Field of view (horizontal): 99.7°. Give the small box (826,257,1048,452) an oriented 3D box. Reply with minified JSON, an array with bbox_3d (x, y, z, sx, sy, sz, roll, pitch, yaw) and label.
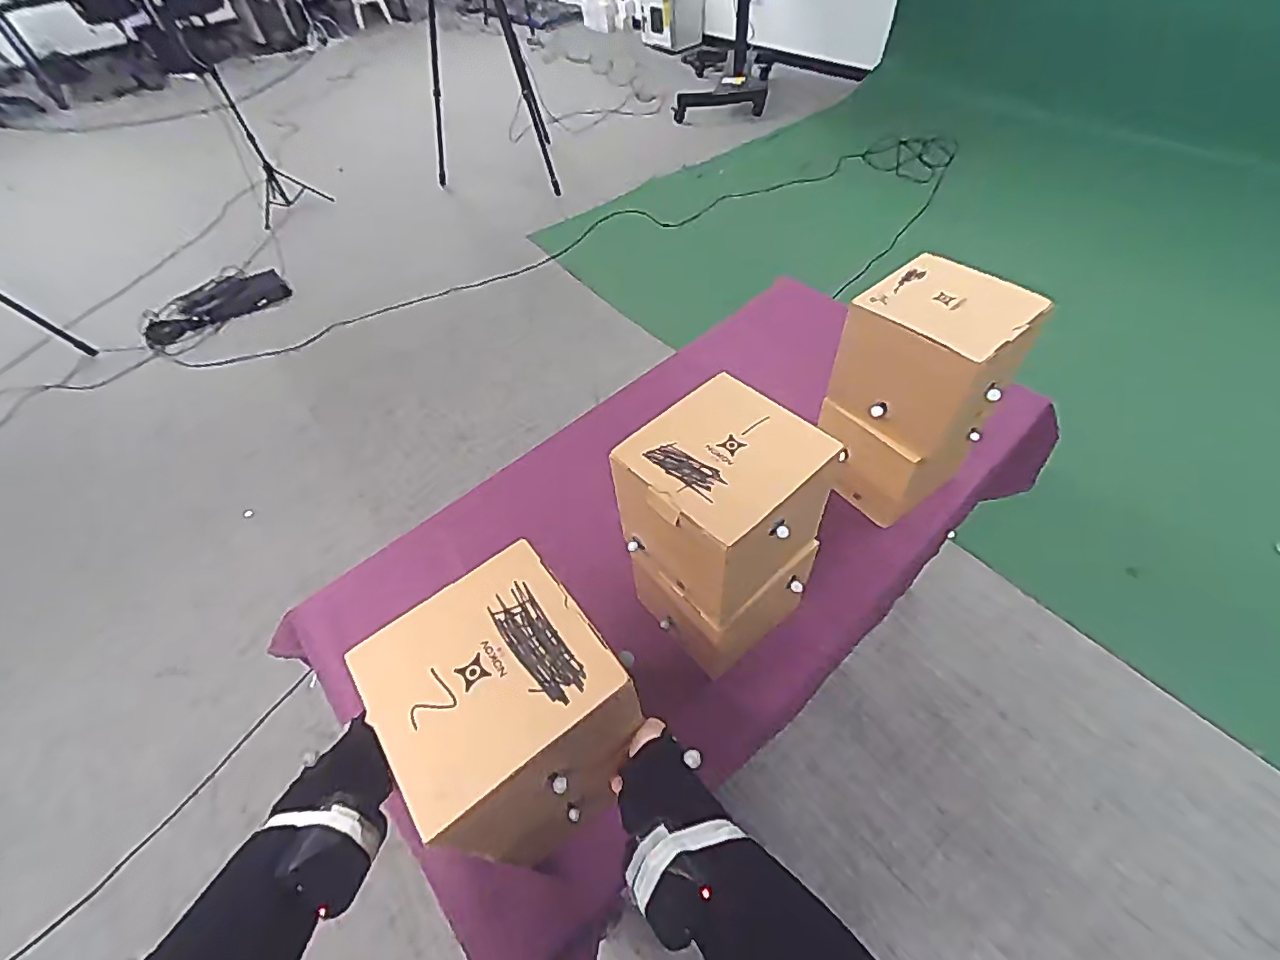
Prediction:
[{"bbox_3d":[0.383,-0.162,0.730,0.168,0.176,0.179,-34,57,-21],"label":"small box"}]

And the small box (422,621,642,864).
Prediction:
[{"bbox_3d":[-0.112,0.303,0.620,0.179,0.176,0.168,-30,56,-18],"label":"small box"}]

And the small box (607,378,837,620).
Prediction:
[{"bbox_3d":[0.088,0.024,0.609,0.179,0.176,0.168,-36,57,-23],"label":"small box"}]

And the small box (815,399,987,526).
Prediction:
[{"bbox_3d":[0.393,-0.058,0.857,0.179,0.176,0.168,-31,55,-18],"label":"small box"}]

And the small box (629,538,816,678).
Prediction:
[{"bbox_3d":[0.105,0.131,0.734,0.179,0.176,0.168,-34,55,-20],"label":"small box"}]
